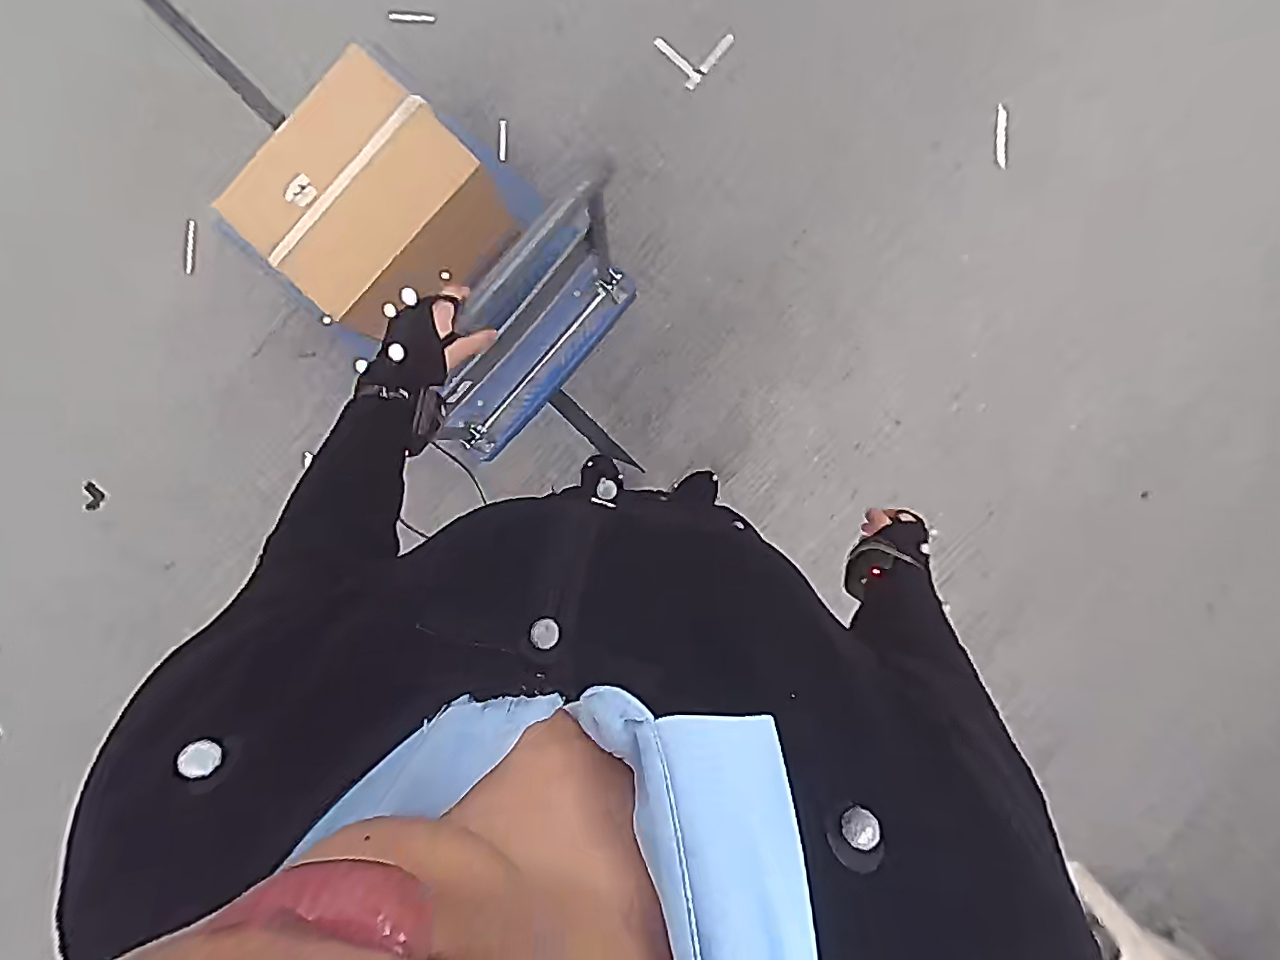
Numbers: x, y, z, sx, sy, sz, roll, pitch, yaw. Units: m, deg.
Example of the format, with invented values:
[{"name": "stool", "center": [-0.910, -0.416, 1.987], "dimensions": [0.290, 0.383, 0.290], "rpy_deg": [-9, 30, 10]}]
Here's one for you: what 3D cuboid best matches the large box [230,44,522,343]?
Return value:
[{"name": "large box", "center": [-0.521, -0.562, 1.149], "dimensions": [0.320, 0.320, 0.408], "rpy_deg": [44, 94, -1]}]
